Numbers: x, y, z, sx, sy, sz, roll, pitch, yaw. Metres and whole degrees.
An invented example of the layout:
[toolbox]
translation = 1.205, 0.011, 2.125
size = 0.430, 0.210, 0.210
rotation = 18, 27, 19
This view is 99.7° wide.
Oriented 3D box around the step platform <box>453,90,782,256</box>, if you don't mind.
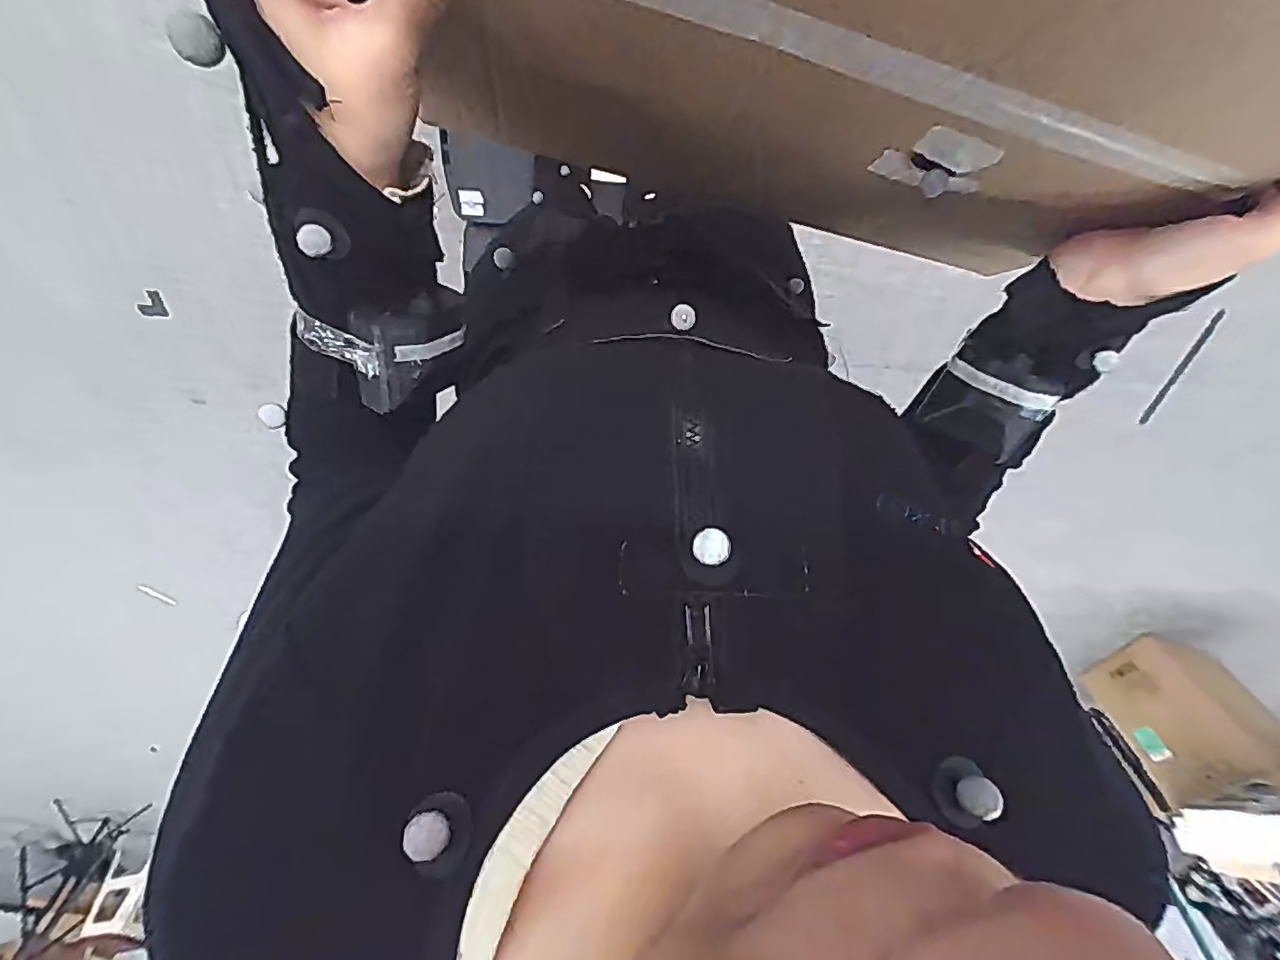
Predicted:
[step platform]
translation = -0.040, -0.695, 1.155
size = 0.684, 0.204, 0.286
rotation = 6, 127, -10
